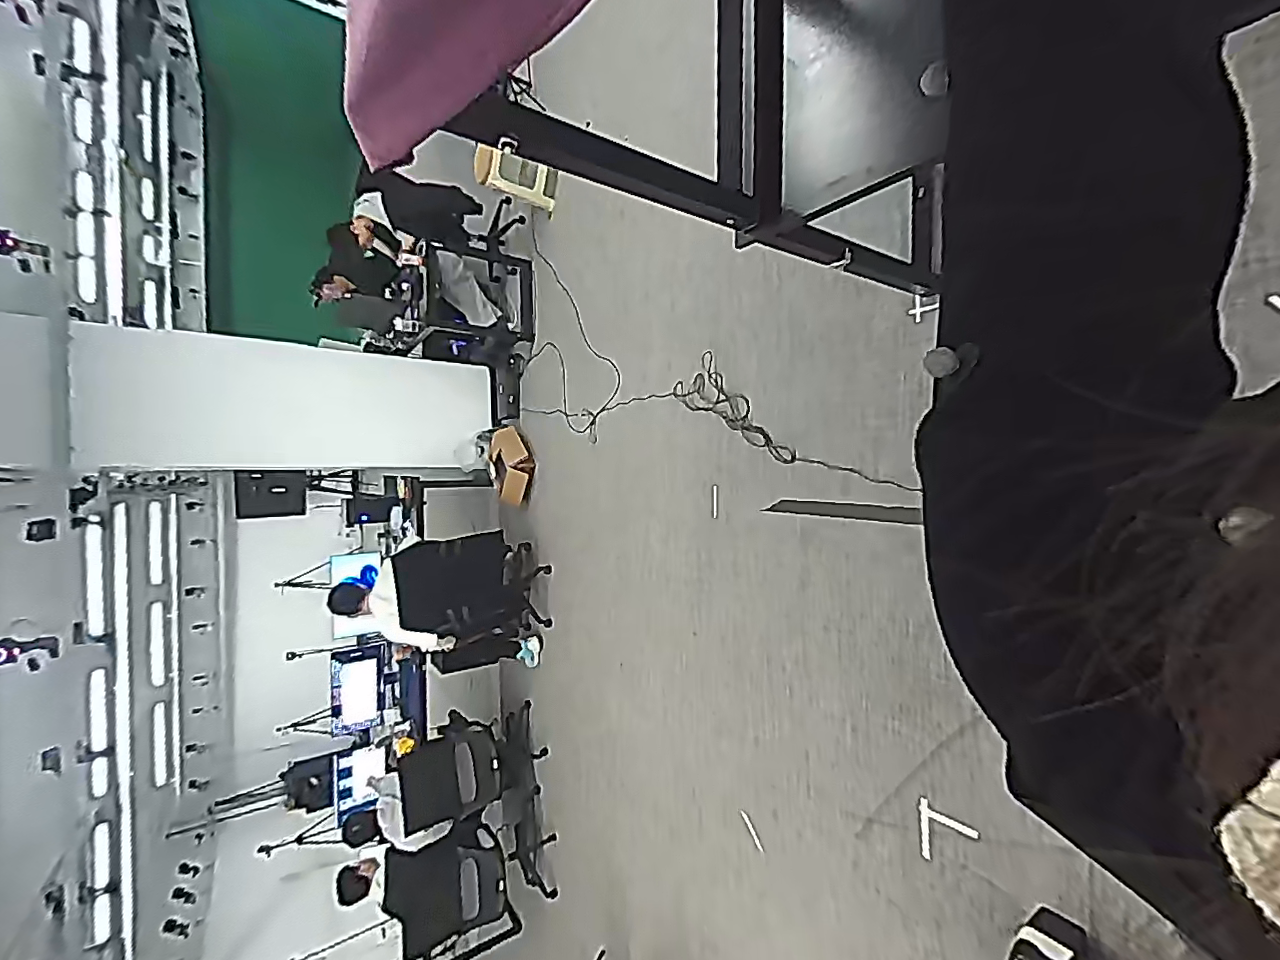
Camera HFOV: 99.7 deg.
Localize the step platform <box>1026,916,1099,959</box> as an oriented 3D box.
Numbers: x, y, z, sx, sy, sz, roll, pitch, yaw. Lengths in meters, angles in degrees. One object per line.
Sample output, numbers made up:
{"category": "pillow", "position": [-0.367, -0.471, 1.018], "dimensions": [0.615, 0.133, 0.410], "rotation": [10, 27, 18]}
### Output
{"category": "step platform", "position": [1.095, 1.209, 0.991], "dimensions": [0.684, 0.204, 0.286], "rotation": [12, 100, 54]}
